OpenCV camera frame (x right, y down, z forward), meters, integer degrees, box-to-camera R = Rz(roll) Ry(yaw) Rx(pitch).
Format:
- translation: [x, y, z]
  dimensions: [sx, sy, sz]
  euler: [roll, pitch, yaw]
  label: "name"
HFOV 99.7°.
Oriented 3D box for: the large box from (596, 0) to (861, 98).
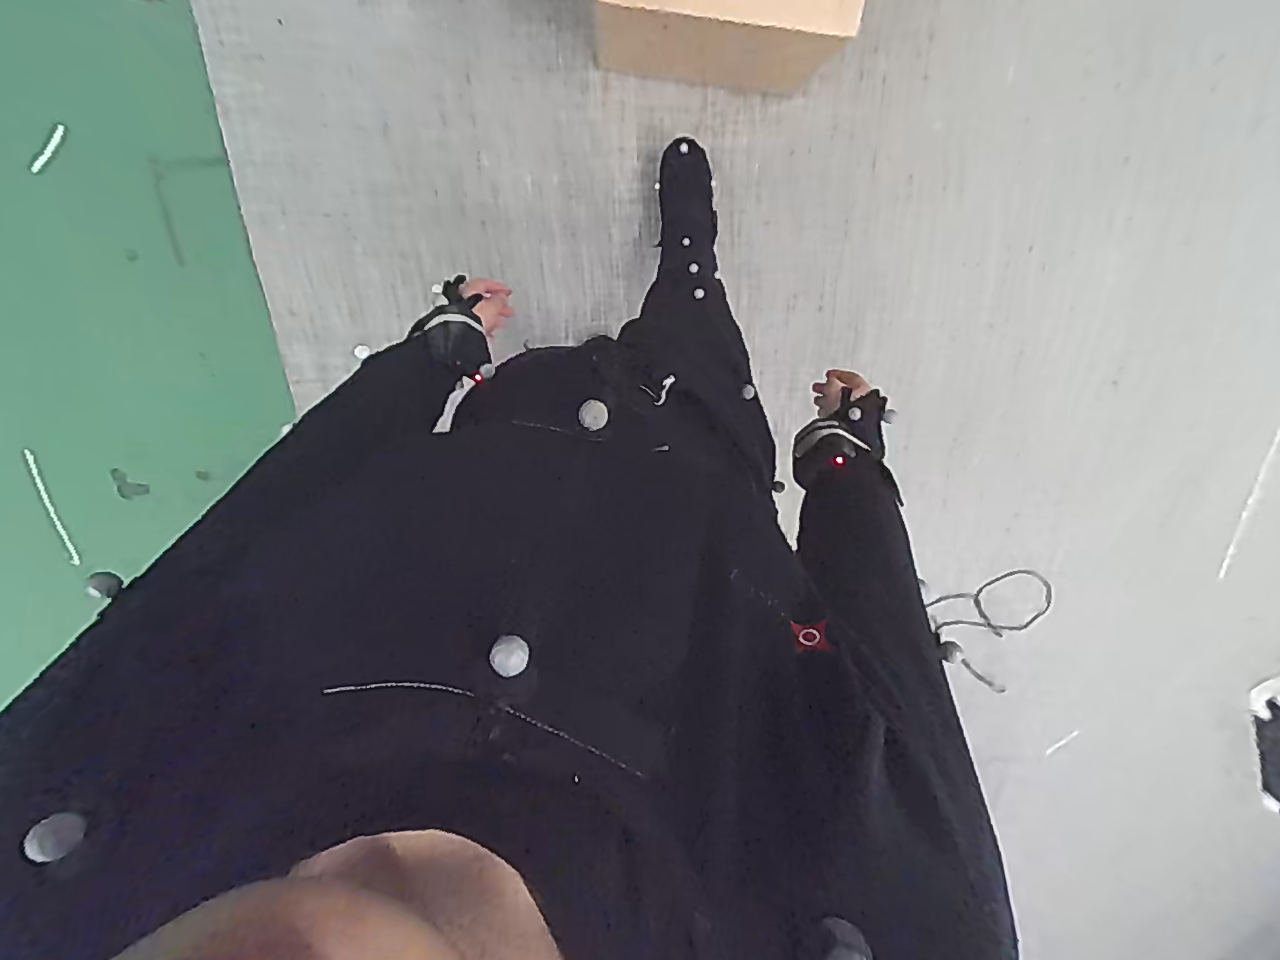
- translation: [0.131, -0.876, 0.898]
  dimensions: [0.408, 0.320, 0.320]
  euler: [3, 112, -6]
  label: "large box"
